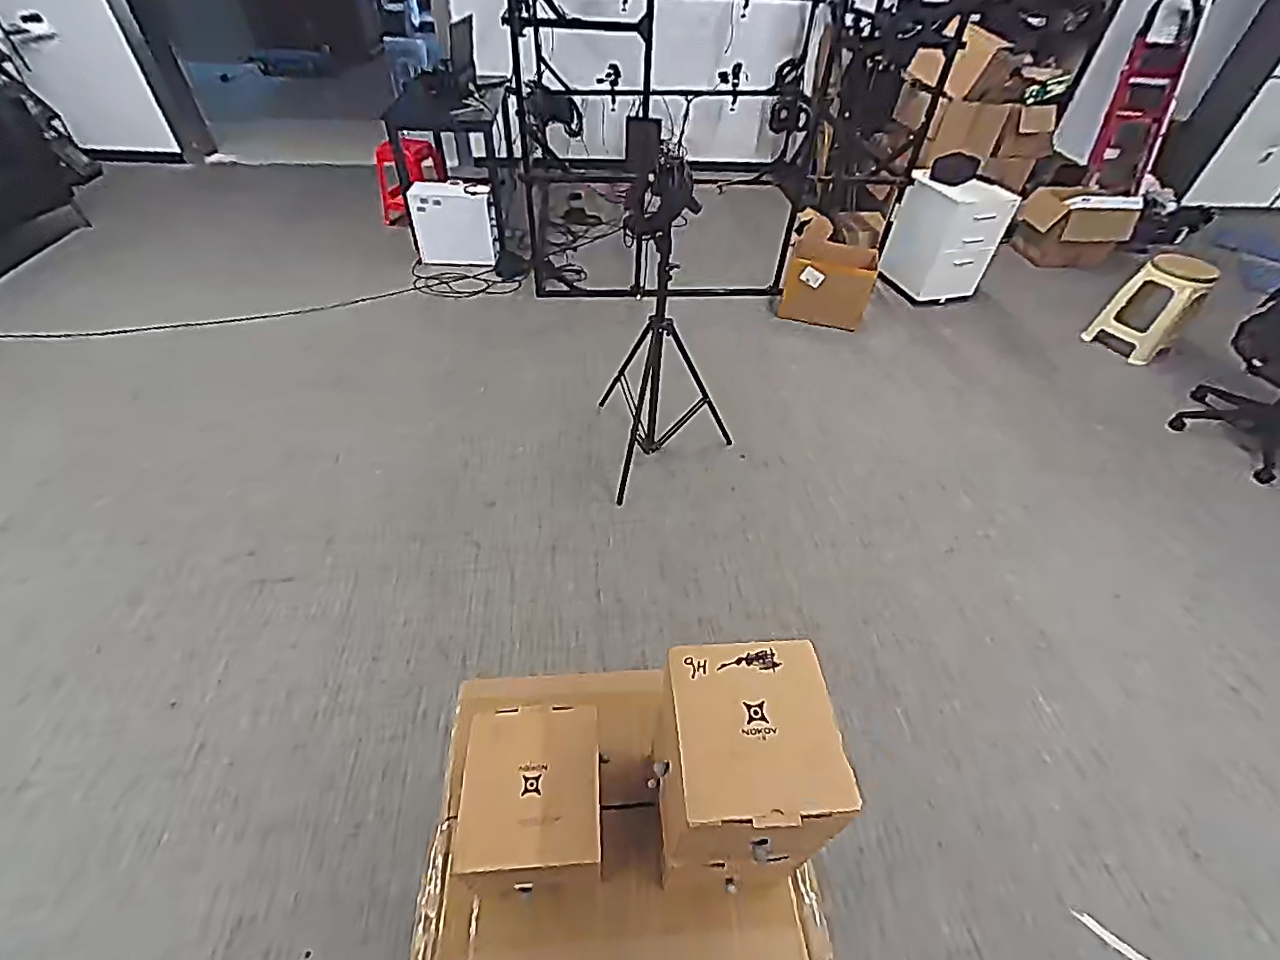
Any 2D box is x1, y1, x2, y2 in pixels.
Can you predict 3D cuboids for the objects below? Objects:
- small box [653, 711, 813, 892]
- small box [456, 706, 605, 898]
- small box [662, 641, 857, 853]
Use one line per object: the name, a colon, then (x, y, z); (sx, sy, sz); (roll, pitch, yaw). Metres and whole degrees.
small box: (0.107, 0.423, 0.722); (0.168, 0.176, 0.179); (-3, 46, -4)
small box: (-0.132, 0.422, 0.710); (0.168, 0.176, 0.179); (-3, 46, -5)
small box: (0.116, 0.303, 0.609); (0.168, 0.176, 0.179); (-2, 46, -4)
